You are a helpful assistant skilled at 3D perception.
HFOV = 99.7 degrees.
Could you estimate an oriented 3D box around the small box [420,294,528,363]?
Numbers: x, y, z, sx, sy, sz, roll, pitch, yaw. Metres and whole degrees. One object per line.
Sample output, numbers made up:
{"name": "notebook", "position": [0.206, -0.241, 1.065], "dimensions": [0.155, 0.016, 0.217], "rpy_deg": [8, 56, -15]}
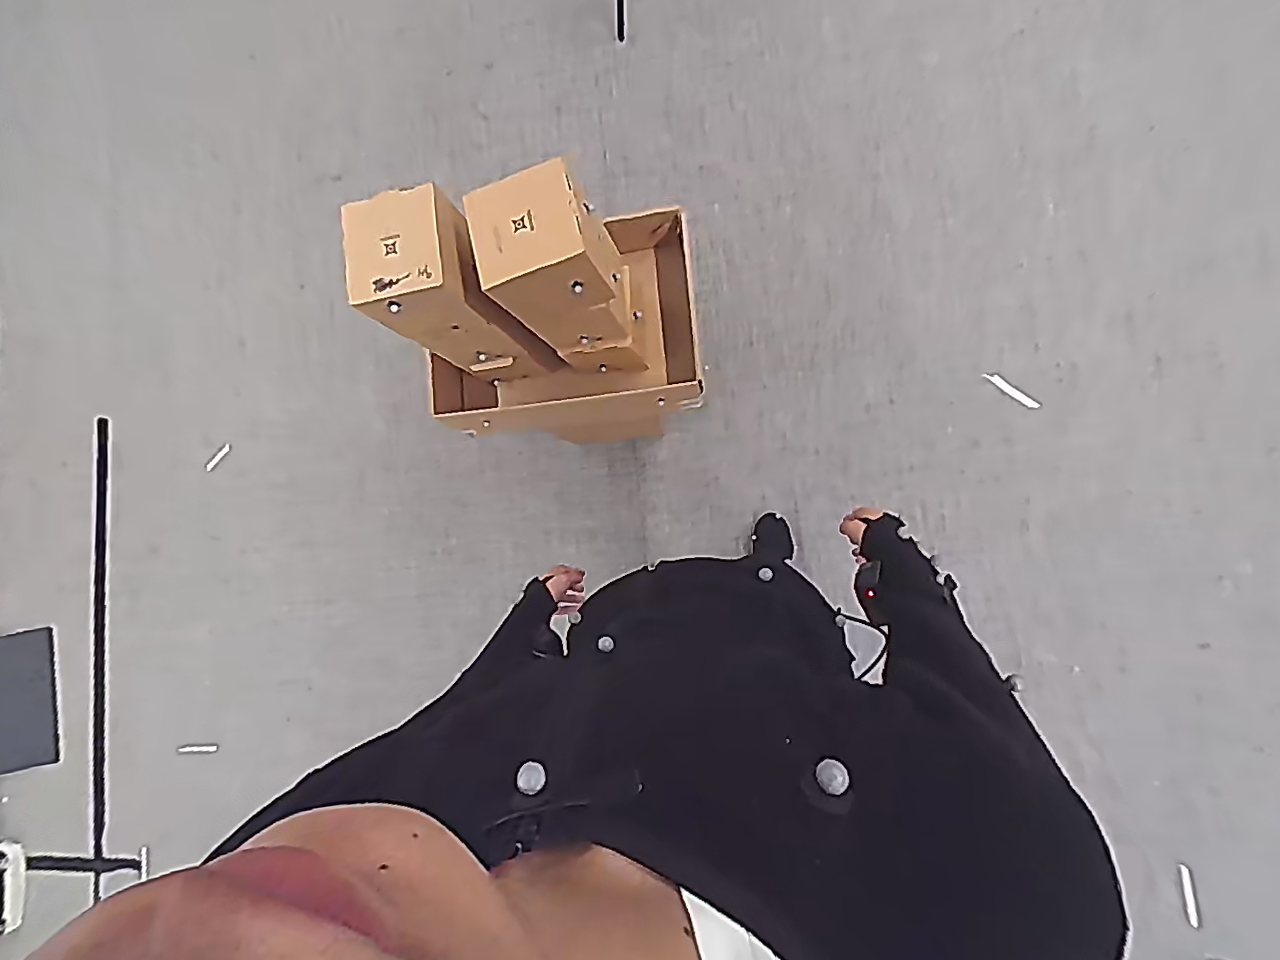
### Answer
{"name": "small box", "position": [-0.339, -0.354, 1.090], "dimensions": [0.168, 0.176, 0.179], "rpy_deg": [-8, 84, 10]}

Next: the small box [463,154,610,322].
{"name": "small box", "position": [-0.159, -0.385, 0.893], "dimensions": [0.179, 0.176, 0.168], "rpy_deg": [-15, 82, 13]}

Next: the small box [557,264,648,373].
{"name": "small box", "position": [-0.080, -0.354, 1.209], "dimensions": [0.168, 0.176, 0.179], "rpy_deg": [-4, 85, 14]}

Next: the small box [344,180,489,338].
{"name": "small box", "position": [-0.375, -0.368, 0.928], "dimensions": [0.168, 0.176, 0.179], "rpy_deg": [-8, 83, 11]}
